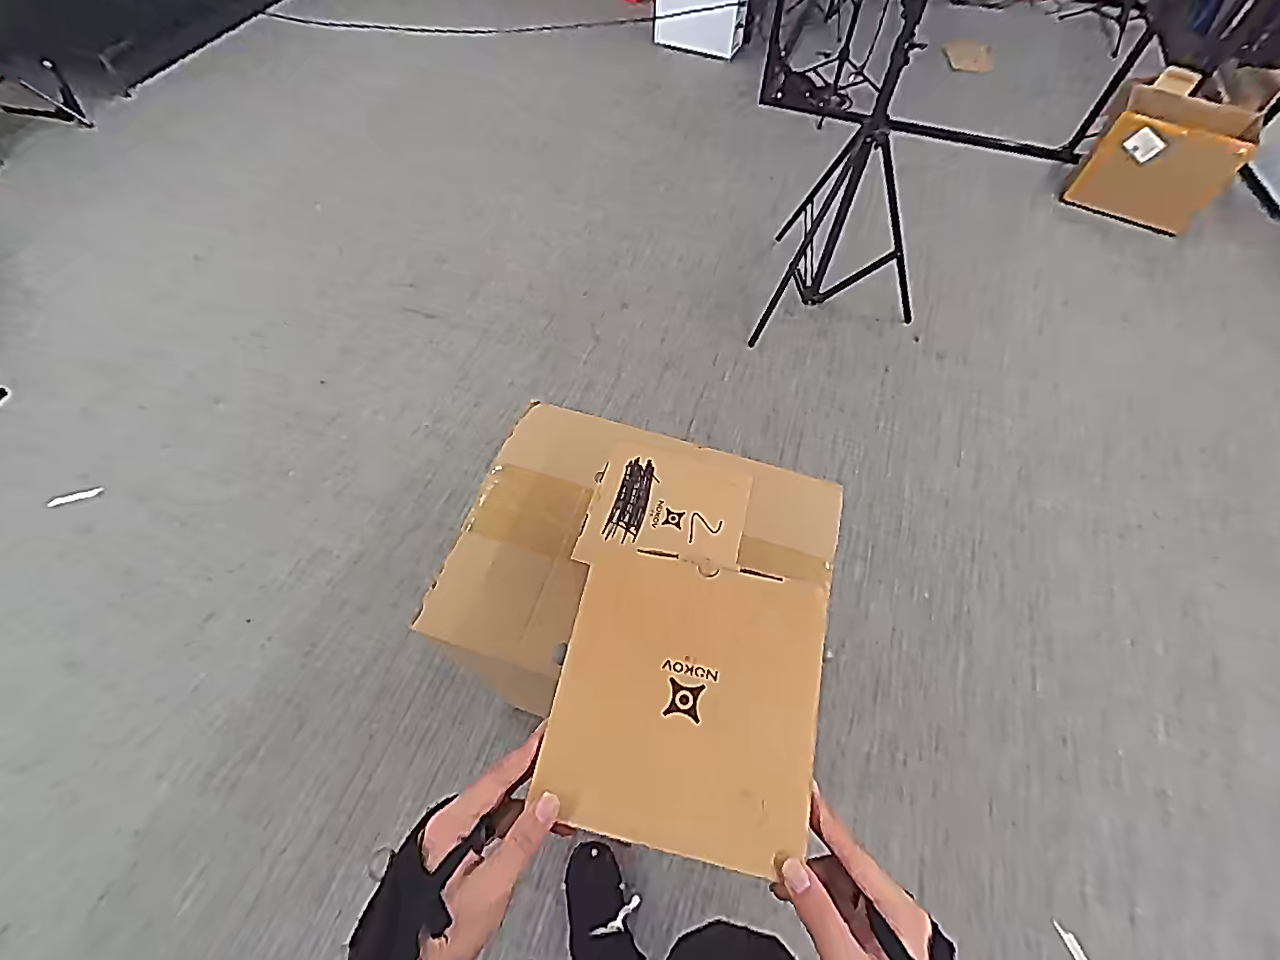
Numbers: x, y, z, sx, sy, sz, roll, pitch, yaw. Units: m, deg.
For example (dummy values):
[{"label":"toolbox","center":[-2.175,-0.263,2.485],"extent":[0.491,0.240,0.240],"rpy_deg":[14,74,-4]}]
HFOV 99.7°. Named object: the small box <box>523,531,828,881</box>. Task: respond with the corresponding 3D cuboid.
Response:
[{"label":"small box","center":[0.032,0.160,0.409],"extent":[0.168,0.176,0.179],"rpy_deg":[10,65,7]}]
